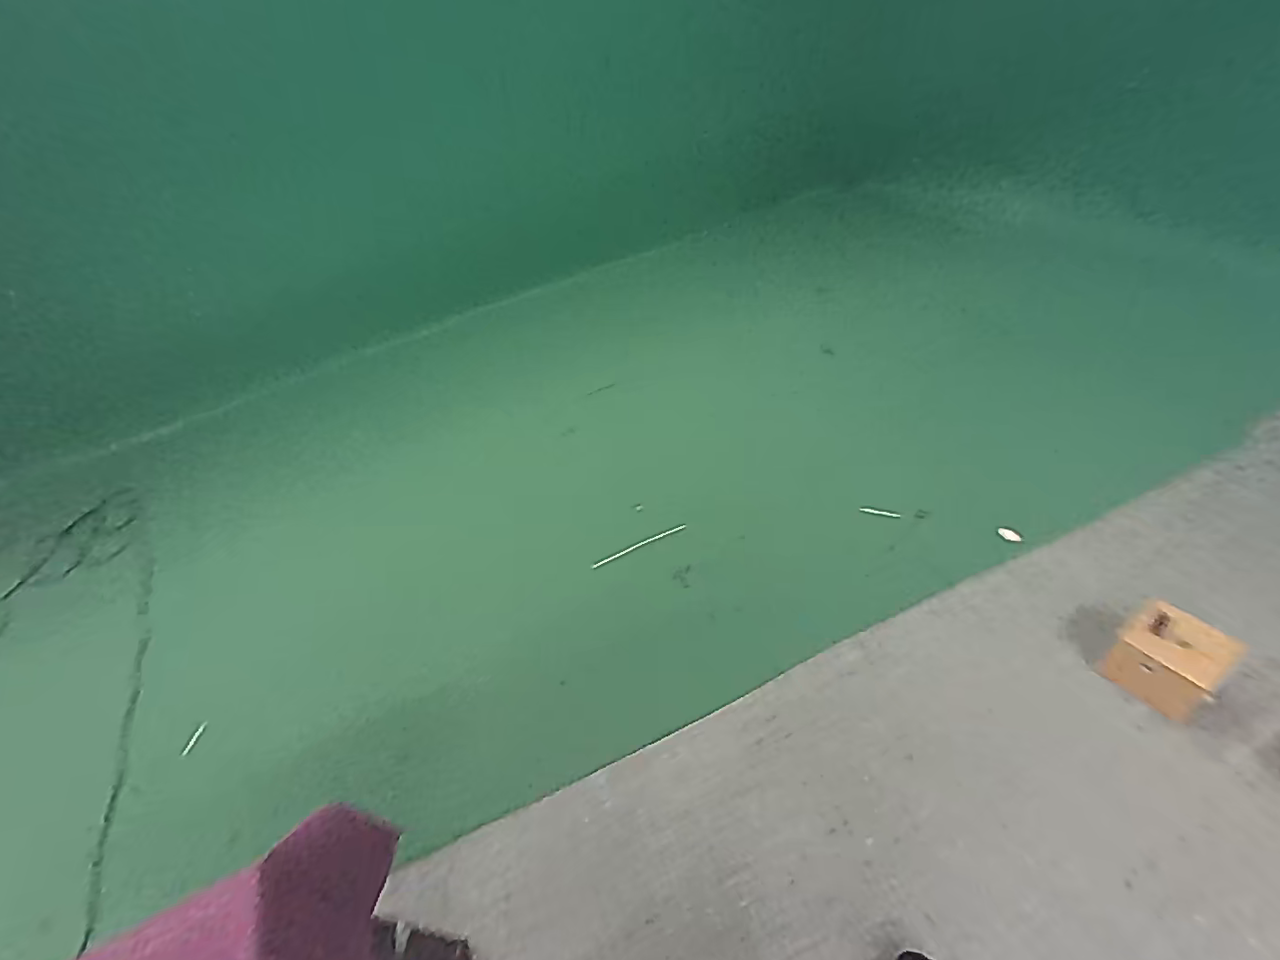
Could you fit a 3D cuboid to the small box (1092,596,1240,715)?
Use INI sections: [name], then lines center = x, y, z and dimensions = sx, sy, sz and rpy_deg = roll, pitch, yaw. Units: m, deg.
[small box]
center = 1.242, 0.421, 1.292
dimensions = 0.168, 0.176, 0.179
rpy_deg = -32, 46, -17
